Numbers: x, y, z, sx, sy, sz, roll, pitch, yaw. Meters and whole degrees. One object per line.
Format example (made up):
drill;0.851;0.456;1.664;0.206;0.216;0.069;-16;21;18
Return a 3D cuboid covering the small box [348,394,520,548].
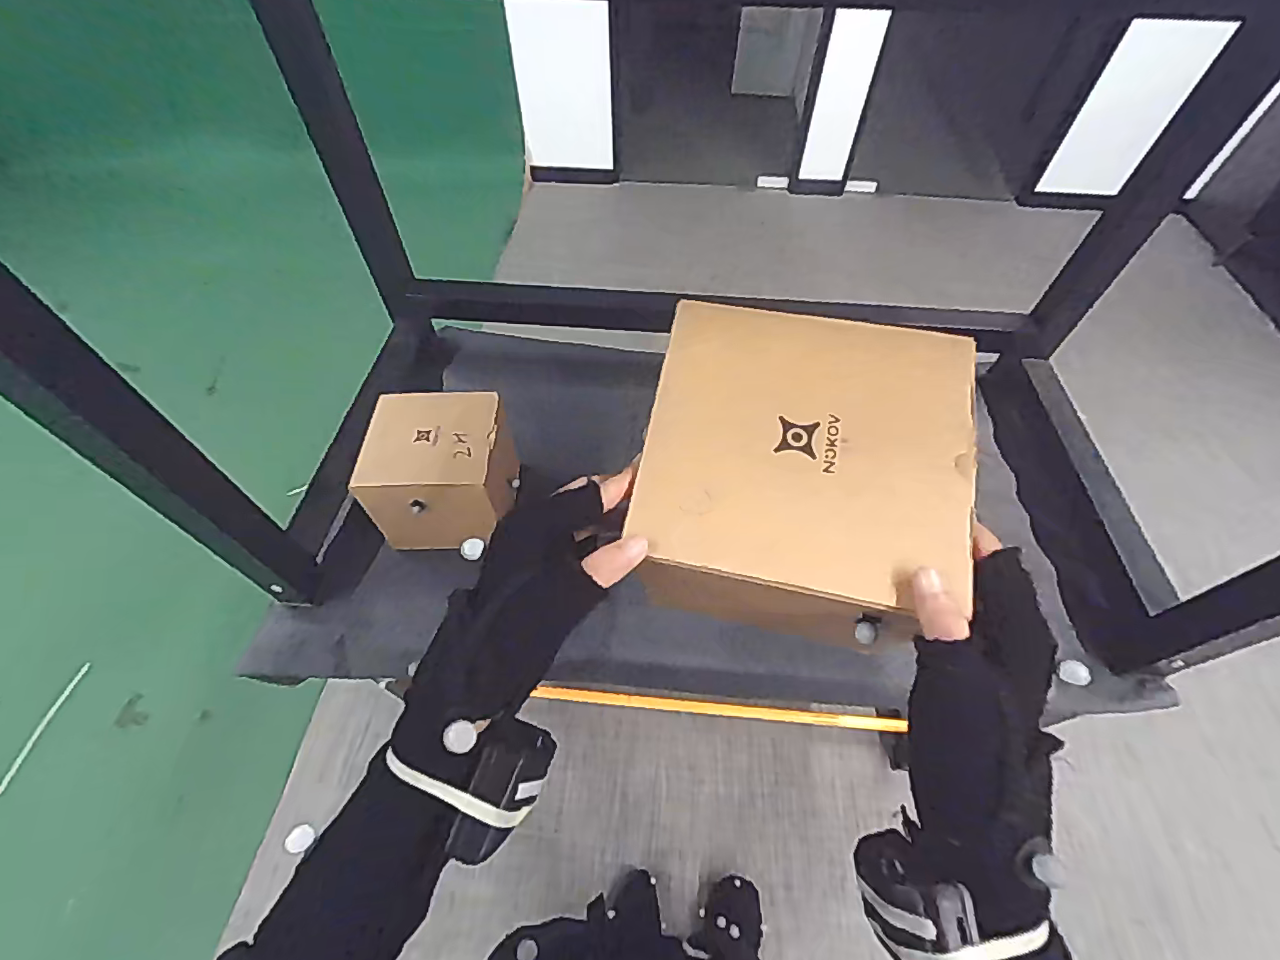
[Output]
small box;-0.286;-0.008;0.796;0.179;0.176;0.168;0;55;-1
